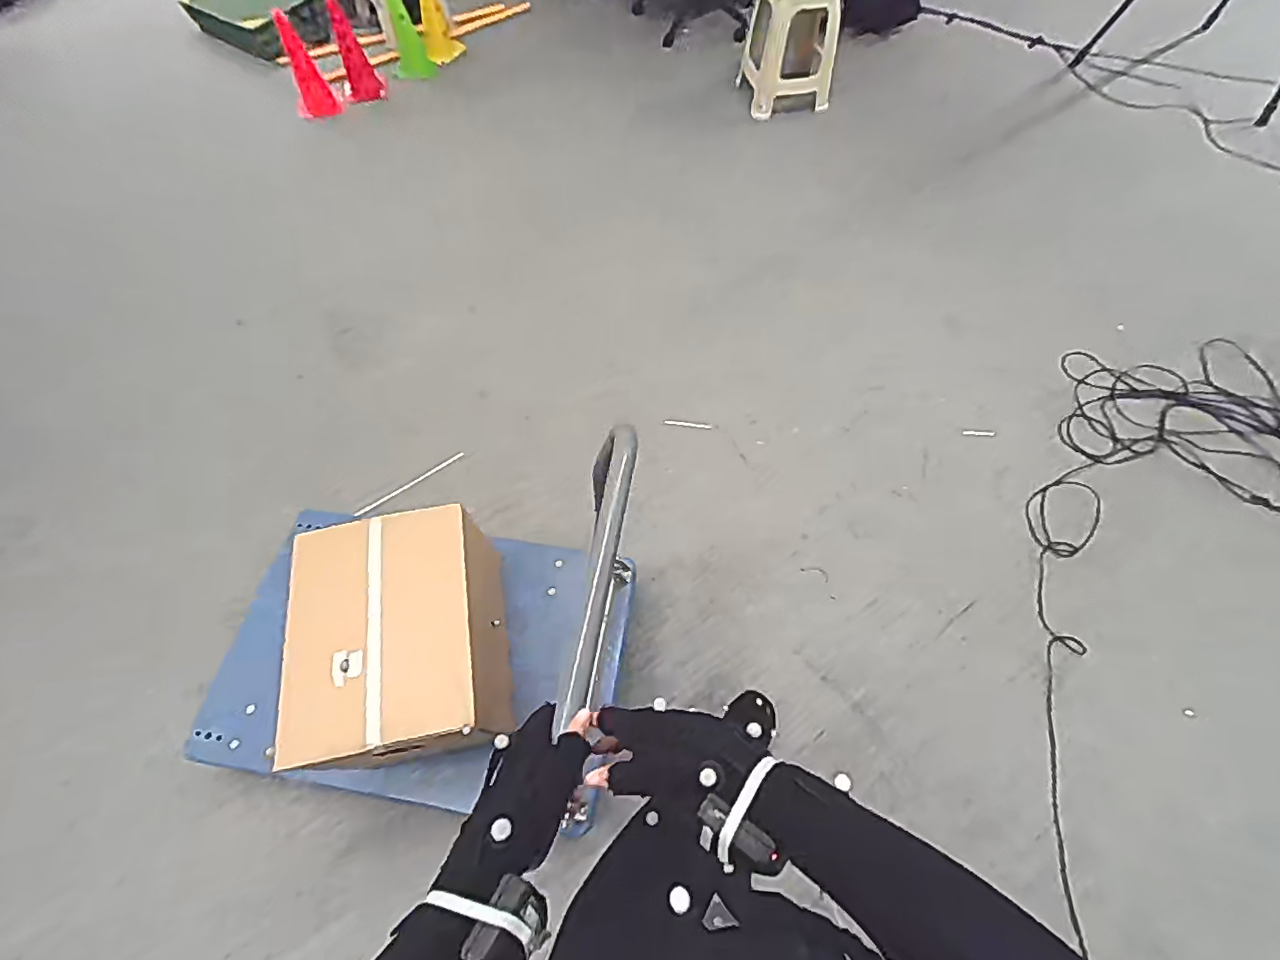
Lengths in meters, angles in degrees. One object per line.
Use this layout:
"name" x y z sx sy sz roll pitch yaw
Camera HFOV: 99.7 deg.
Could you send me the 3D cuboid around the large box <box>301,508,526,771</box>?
"large box" -0.433 0.322 1.086 0.320 0.320 0.408 -13 64 -5
